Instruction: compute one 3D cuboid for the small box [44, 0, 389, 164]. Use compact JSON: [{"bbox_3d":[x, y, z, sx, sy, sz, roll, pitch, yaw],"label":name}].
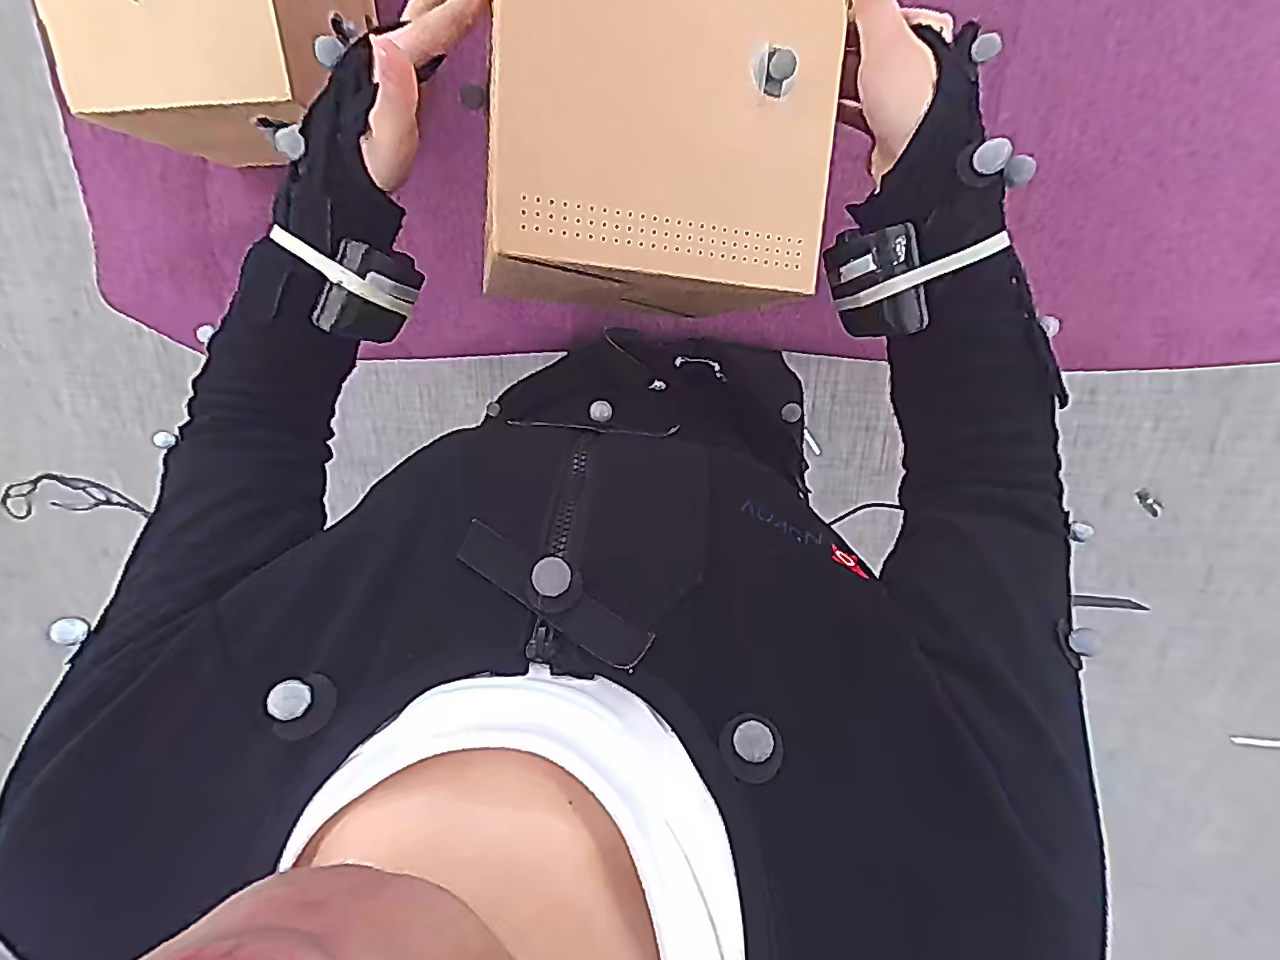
[{"bbox_3d":[-0.332,-0.377,0.450,0.179,0.176,0.168,-1,108,3],"label":"small box"}]
